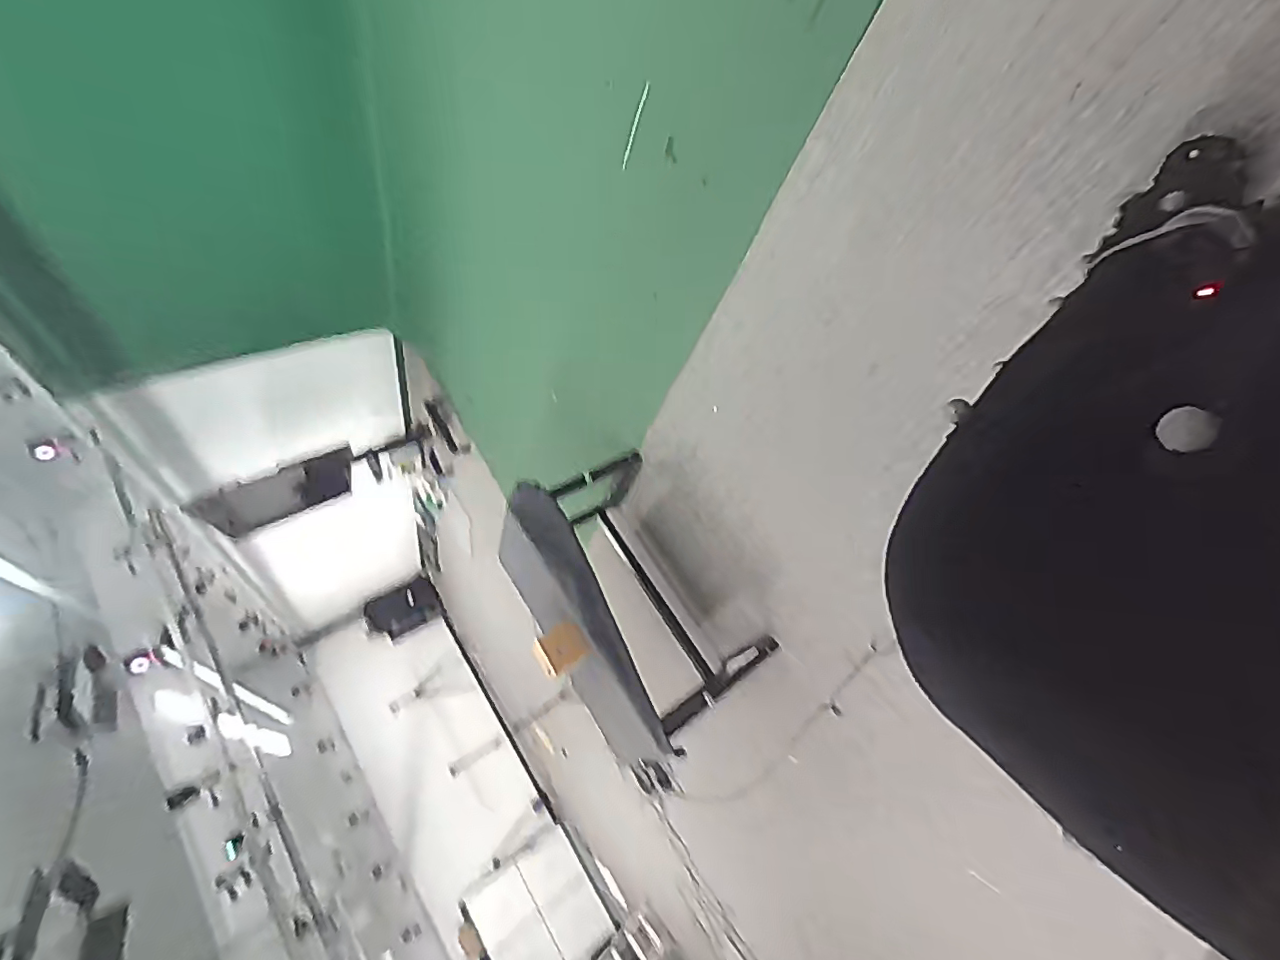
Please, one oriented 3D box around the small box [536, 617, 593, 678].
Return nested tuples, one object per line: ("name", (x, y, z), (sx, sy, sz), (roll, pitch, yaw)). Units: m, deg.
("small box", (-0.322, 0.715, 2.313), (0.179, 0.176, 0.168), (55, 149, 17))
